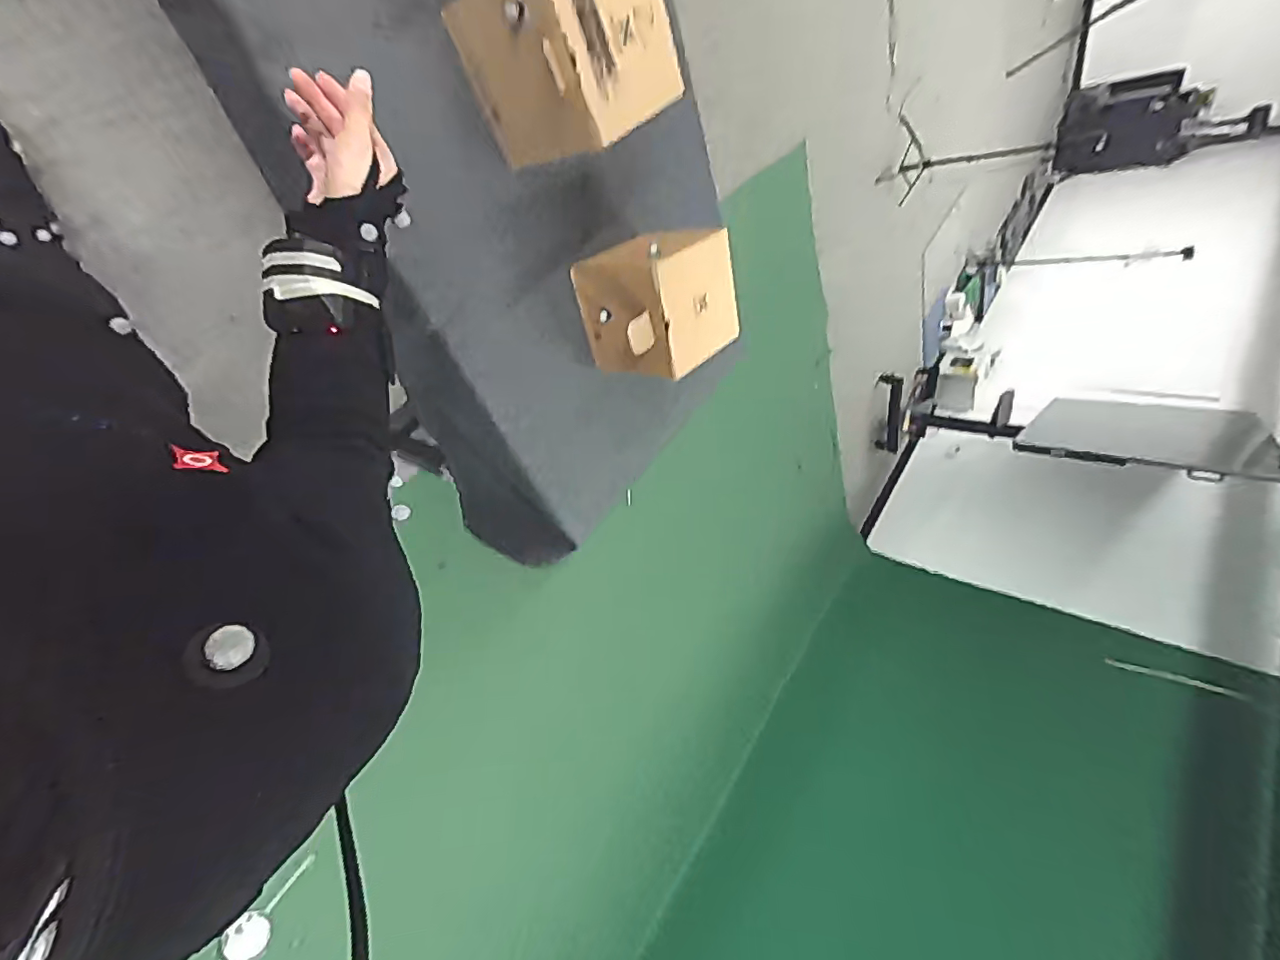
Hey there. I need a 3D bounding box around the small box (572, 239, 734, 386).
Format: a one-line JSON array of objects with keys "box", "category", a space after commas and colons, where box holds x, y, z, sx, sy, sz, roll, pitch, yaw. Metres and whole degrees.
[{"box": [0.025, -0.267, 0.844, 0.179, 0.176, 0.168, -40, 131, -34], "category": "small box"}]
